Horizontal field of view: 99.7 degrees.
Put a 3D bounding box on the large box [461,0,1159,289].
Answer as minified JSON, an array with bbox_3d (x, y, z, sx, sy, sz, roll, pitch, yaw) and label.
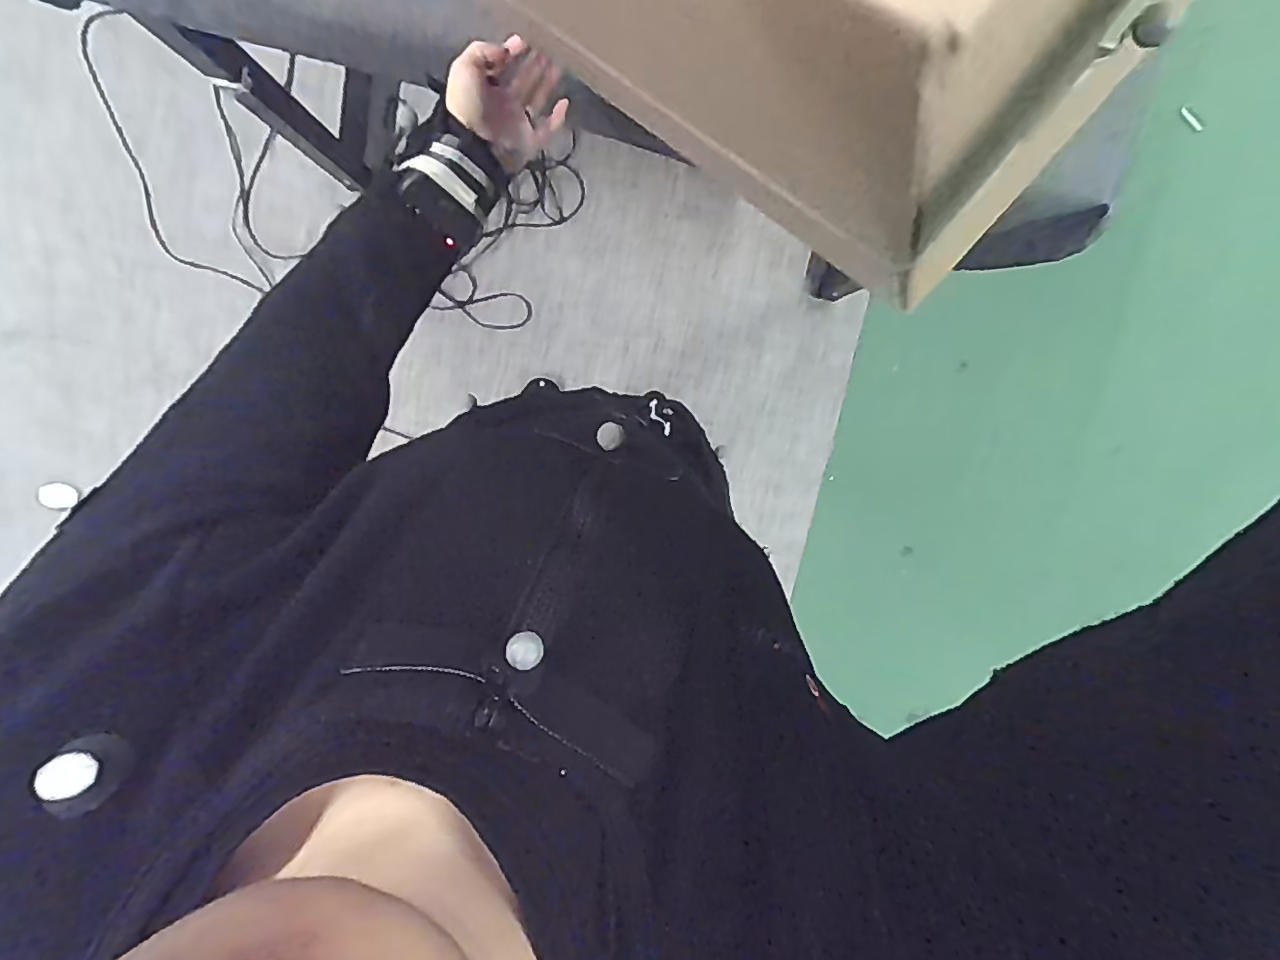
[{"bbox_3d":[0.065,-0.340,0.234,0.408,0.320,0.320,41,112,14],"label":"large box"}]
